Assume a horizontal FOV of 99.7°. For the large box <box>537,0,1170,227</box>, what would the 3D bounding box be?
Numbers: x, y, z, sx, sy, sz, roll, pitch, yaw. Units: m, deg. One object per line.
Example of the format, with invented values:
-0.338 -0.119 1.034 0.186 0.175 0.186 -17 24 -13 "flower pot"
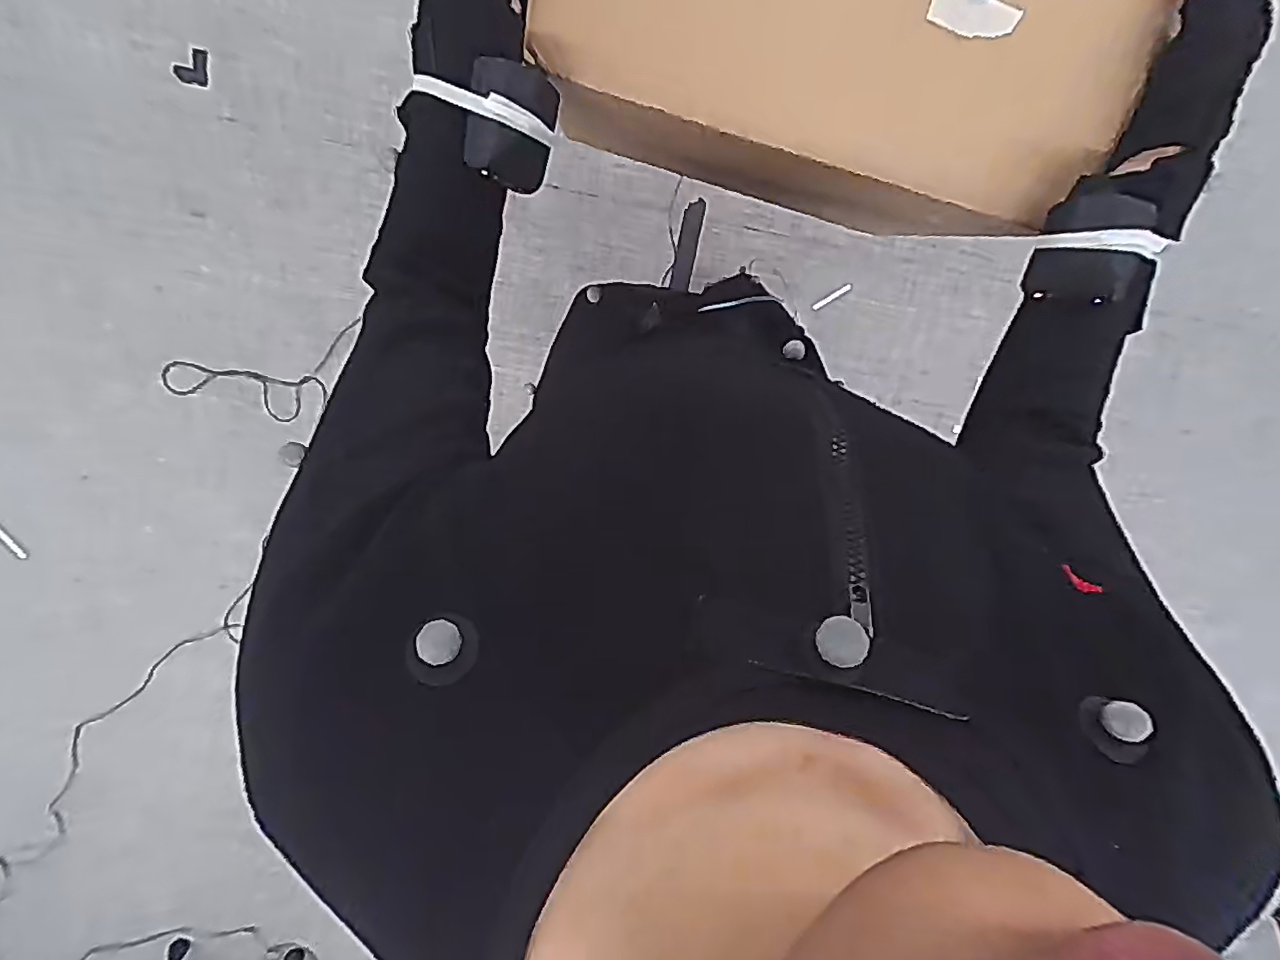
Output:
0.148 -0.427 0.456 0.408 0.320 0.320 12 115 -9 "large box"
